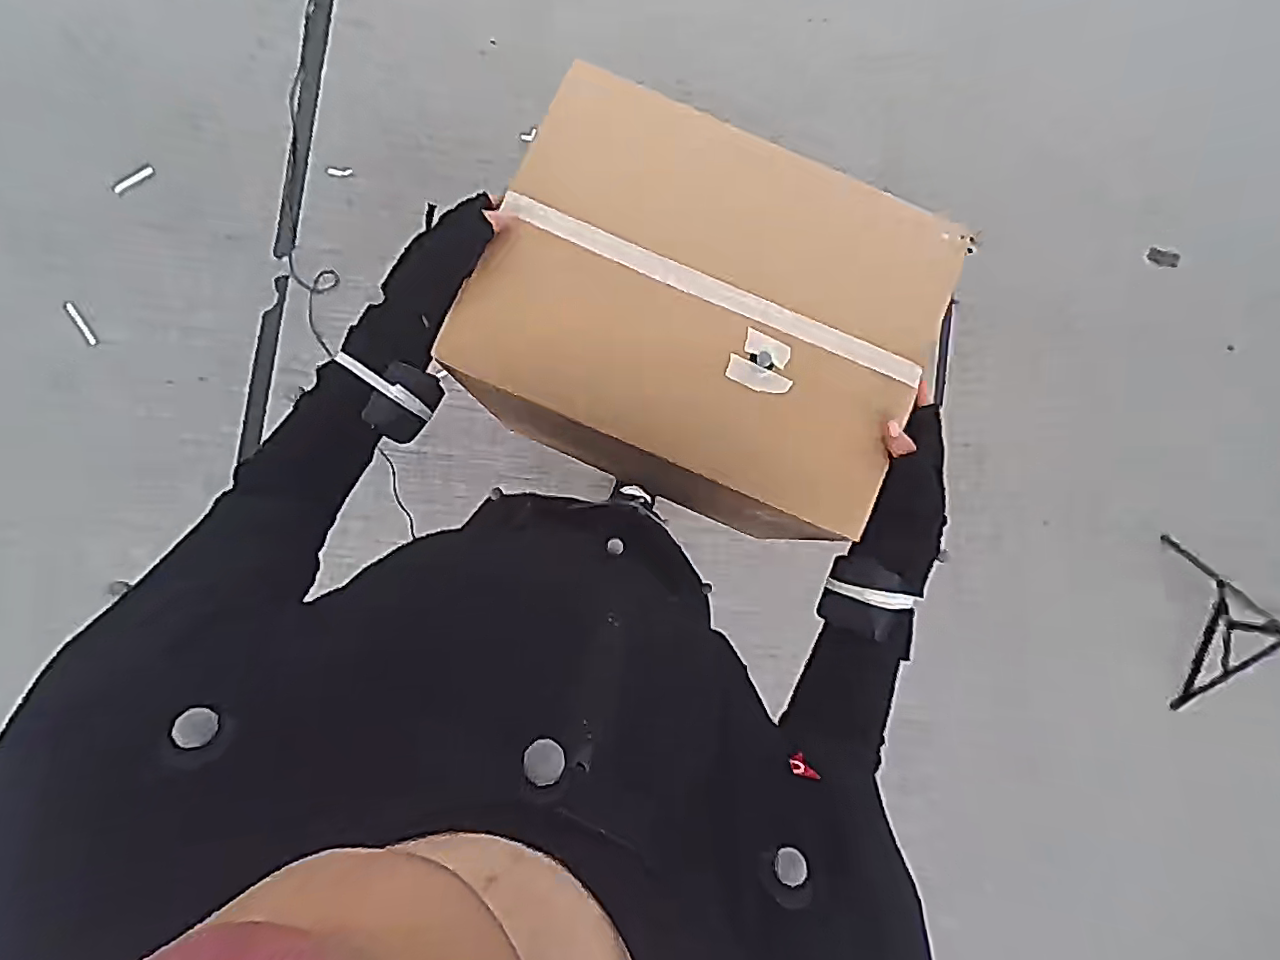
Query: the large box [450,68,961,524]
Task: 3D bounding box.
[{"bbox_3d":[0.059,-0.163,0.644,0.408,0.320,0.320,24,85,-1],"label":"large box"}]
